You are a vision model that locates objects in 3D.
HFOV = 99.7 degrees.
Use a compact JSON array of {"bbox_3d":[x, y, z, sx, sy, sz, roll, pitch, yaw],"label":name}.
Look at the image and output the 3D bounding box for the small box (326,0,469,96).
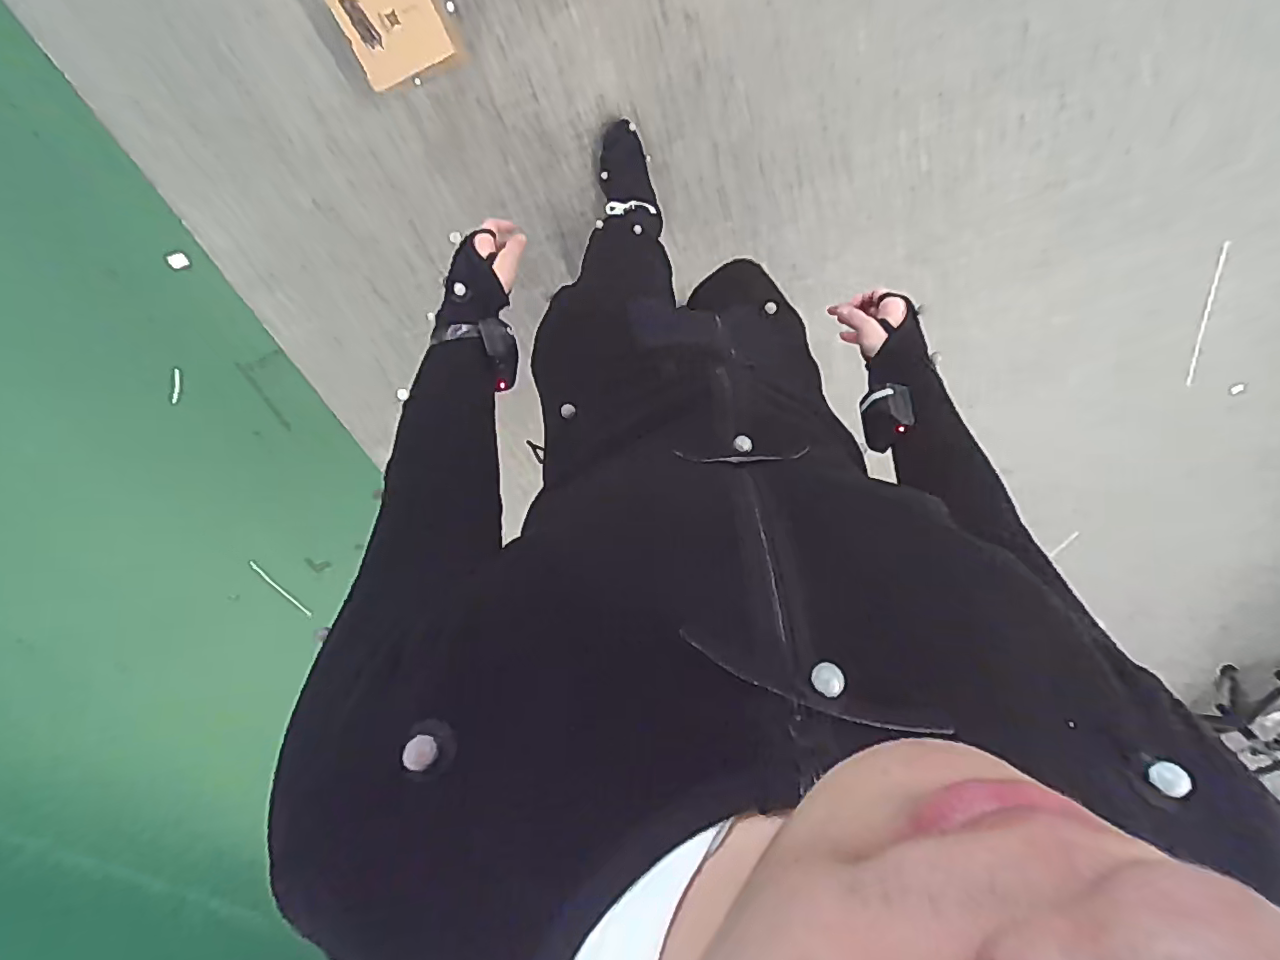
[{"bbox_3d":[-0.455,-0.865,1.041,0.179,0.176,0.168,-20,125,8],"label":"small box"}]
